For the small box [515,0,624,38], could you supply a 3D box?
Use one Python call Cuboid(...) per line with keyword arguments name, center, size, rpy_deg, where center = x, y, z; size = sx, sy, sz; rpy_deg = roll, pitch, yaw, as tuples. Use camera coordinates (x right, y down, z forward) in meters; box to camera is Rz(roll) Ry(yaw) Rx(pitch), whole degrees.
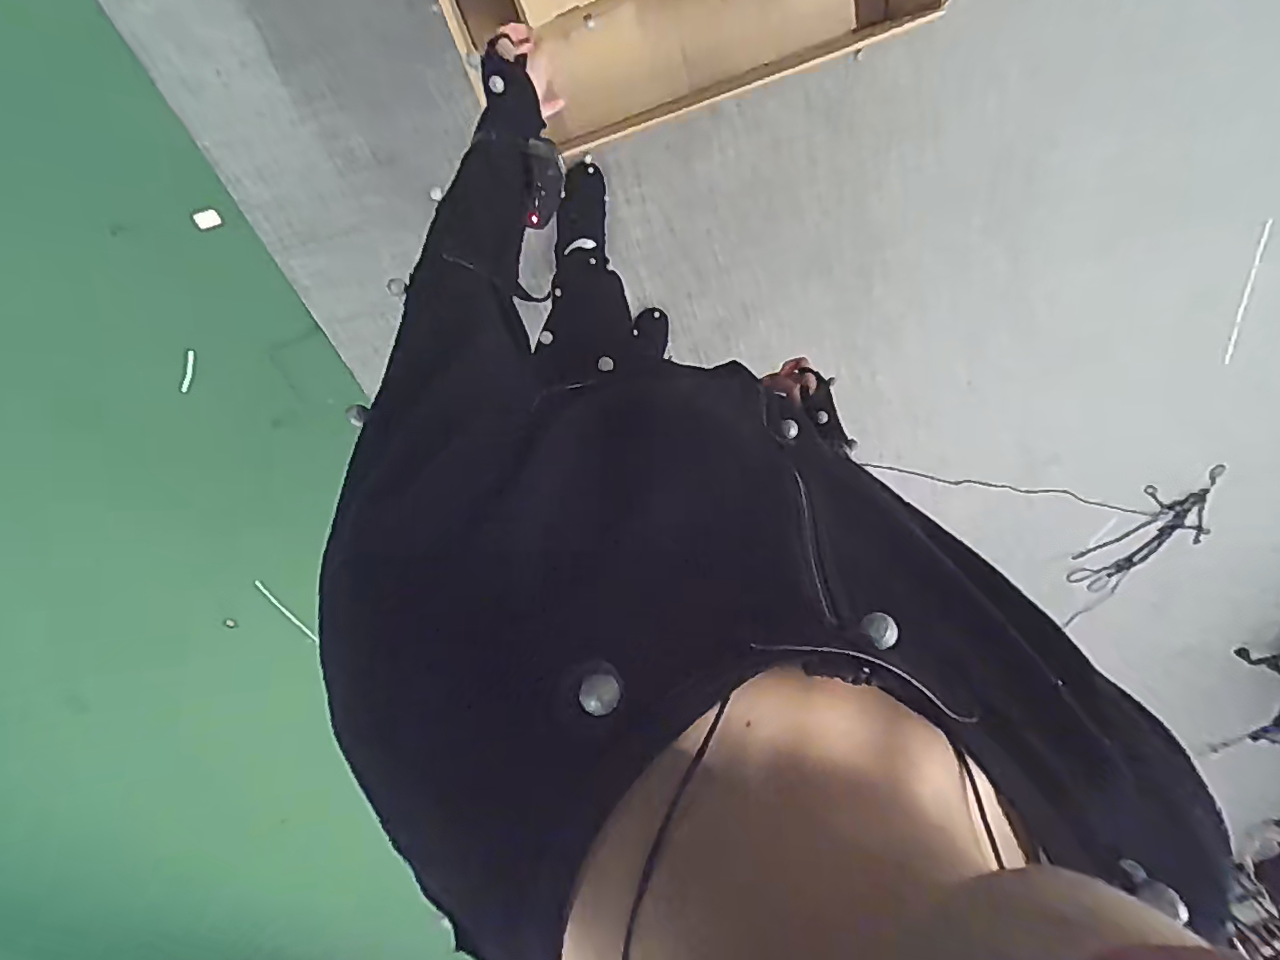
Cuboid(name="small box", center=(-0.092, -0.655, 0.624), size=(0.168, 0.176, 0.179), rpy_deg=(-22, 124, 4))
